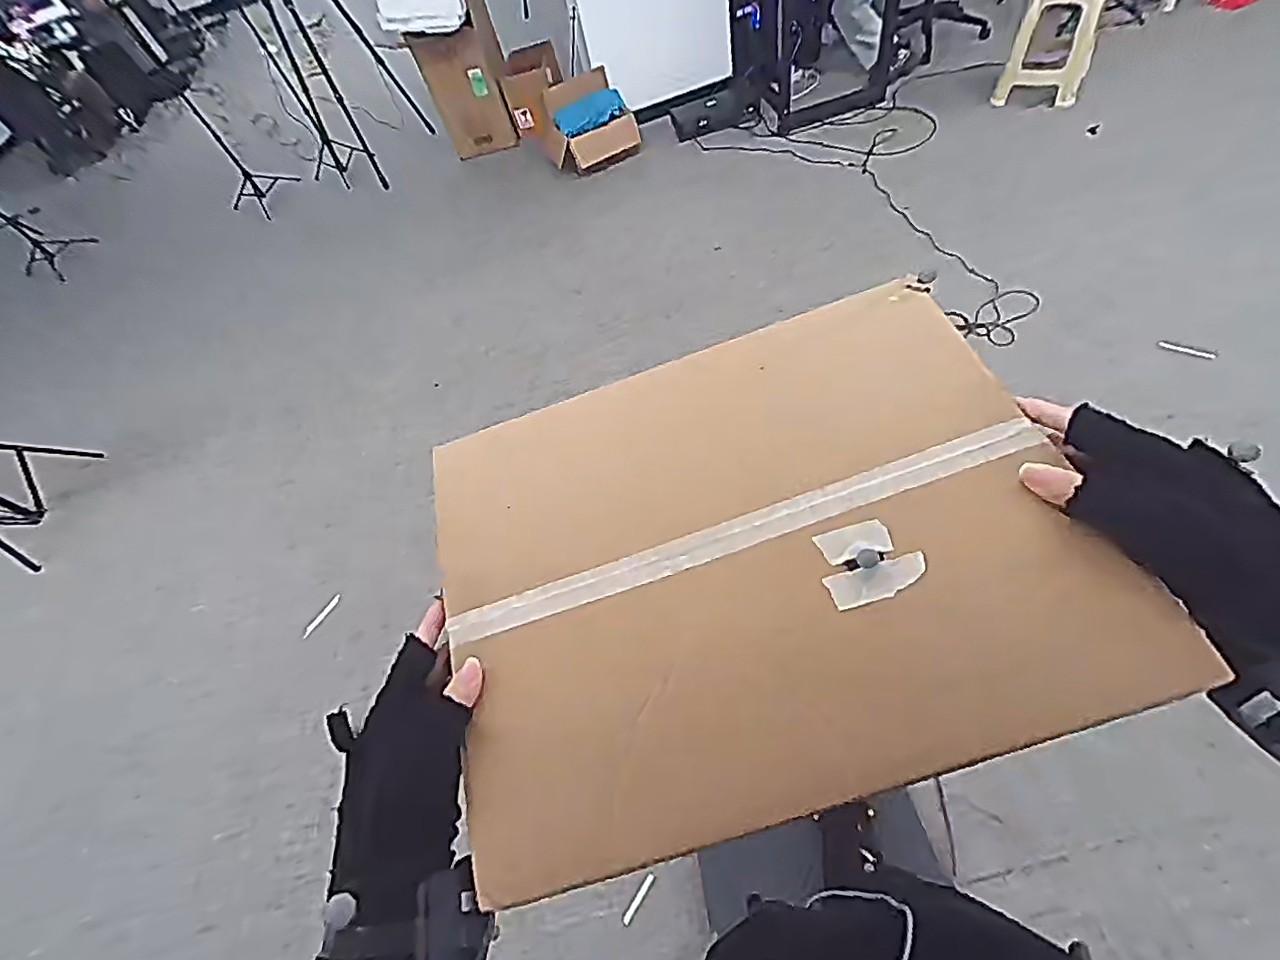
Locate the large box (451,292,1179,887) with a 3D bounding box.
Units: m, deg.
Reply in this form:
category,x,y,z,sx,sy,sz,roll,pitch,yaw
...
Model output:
category,x,y,z,sx,sy,sz,roll,pitch,yaw
large box,0.096,0.107,0.501,0.408,0.320,0.320,-20,61,2
